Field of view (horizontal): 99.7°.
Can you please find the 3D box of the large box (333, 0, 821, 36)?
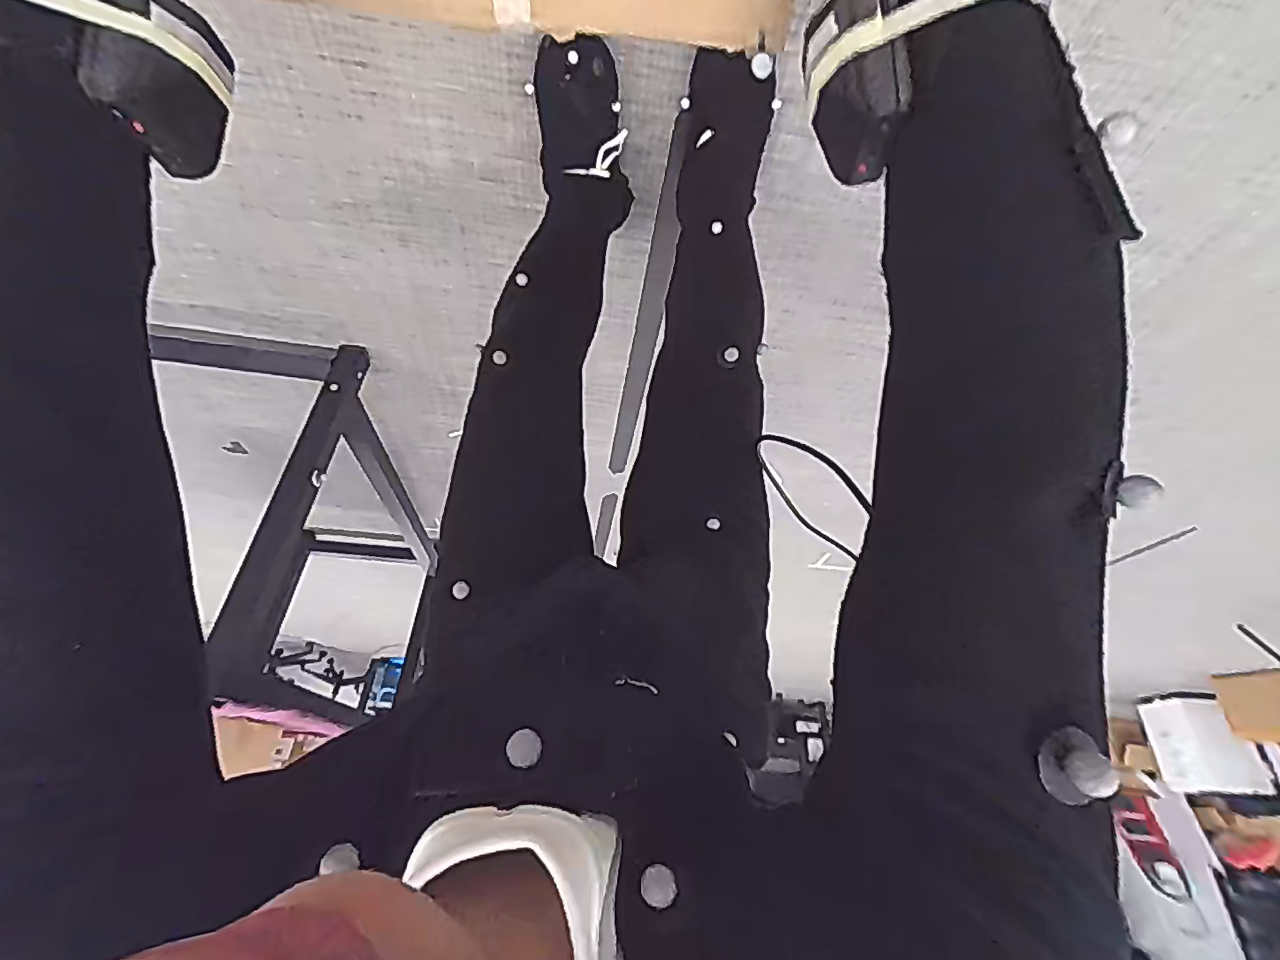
[{"bbox_3d":[-0.033,-0.504,0.240,0.320,0.320,0.408,7,143,1],"label":"large box"}]
